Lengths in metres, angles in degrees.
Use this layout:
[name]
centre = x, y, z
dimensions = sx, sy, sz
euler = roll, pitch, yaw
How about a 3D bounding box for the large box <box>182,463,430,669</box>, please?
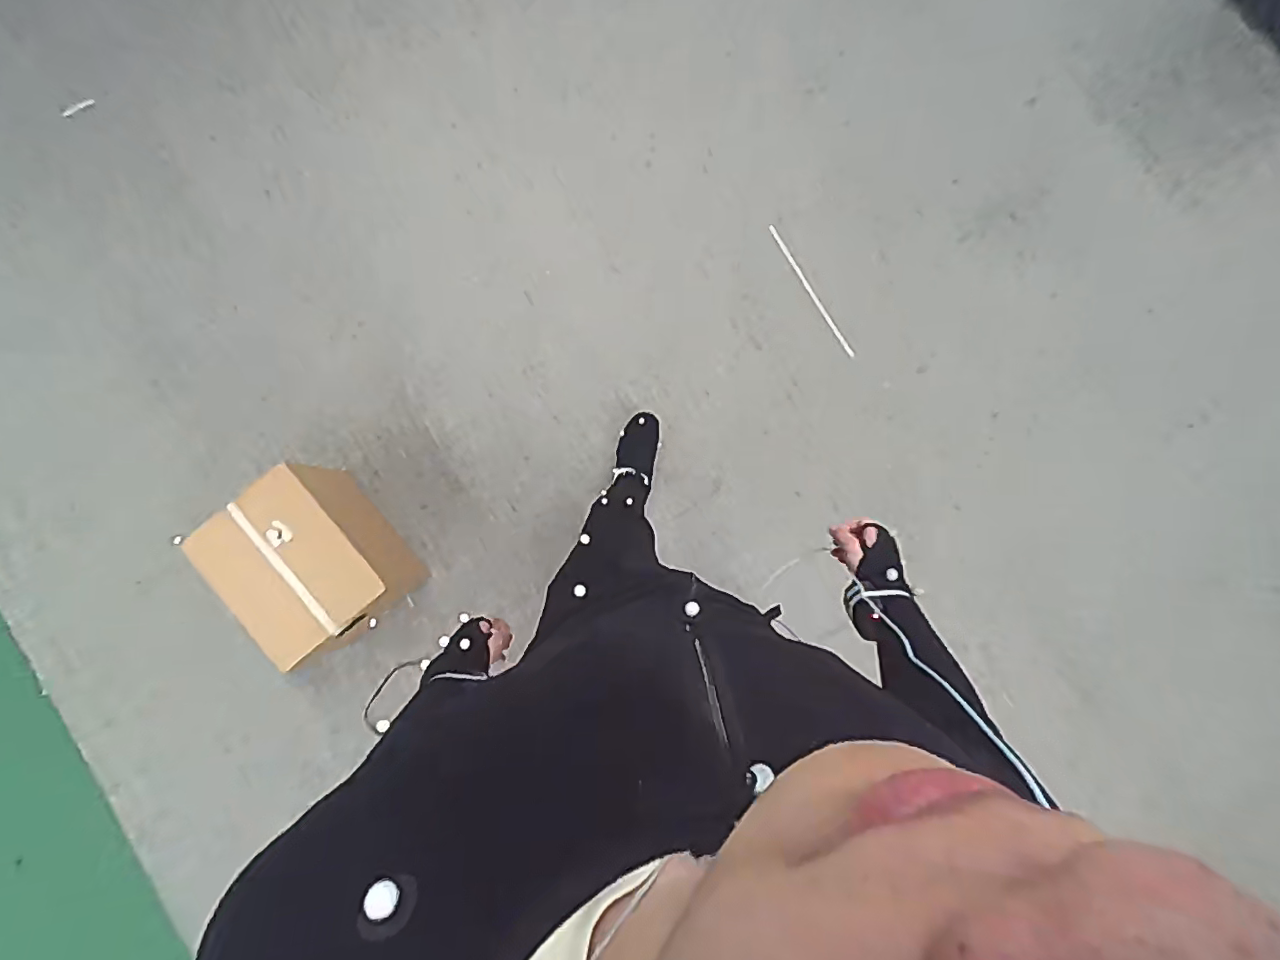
[large box]
centre = -0.849, 0.212, 1.433
dimensions = 0.320, 0.320, 0.408
euler = -40, 88, -4
